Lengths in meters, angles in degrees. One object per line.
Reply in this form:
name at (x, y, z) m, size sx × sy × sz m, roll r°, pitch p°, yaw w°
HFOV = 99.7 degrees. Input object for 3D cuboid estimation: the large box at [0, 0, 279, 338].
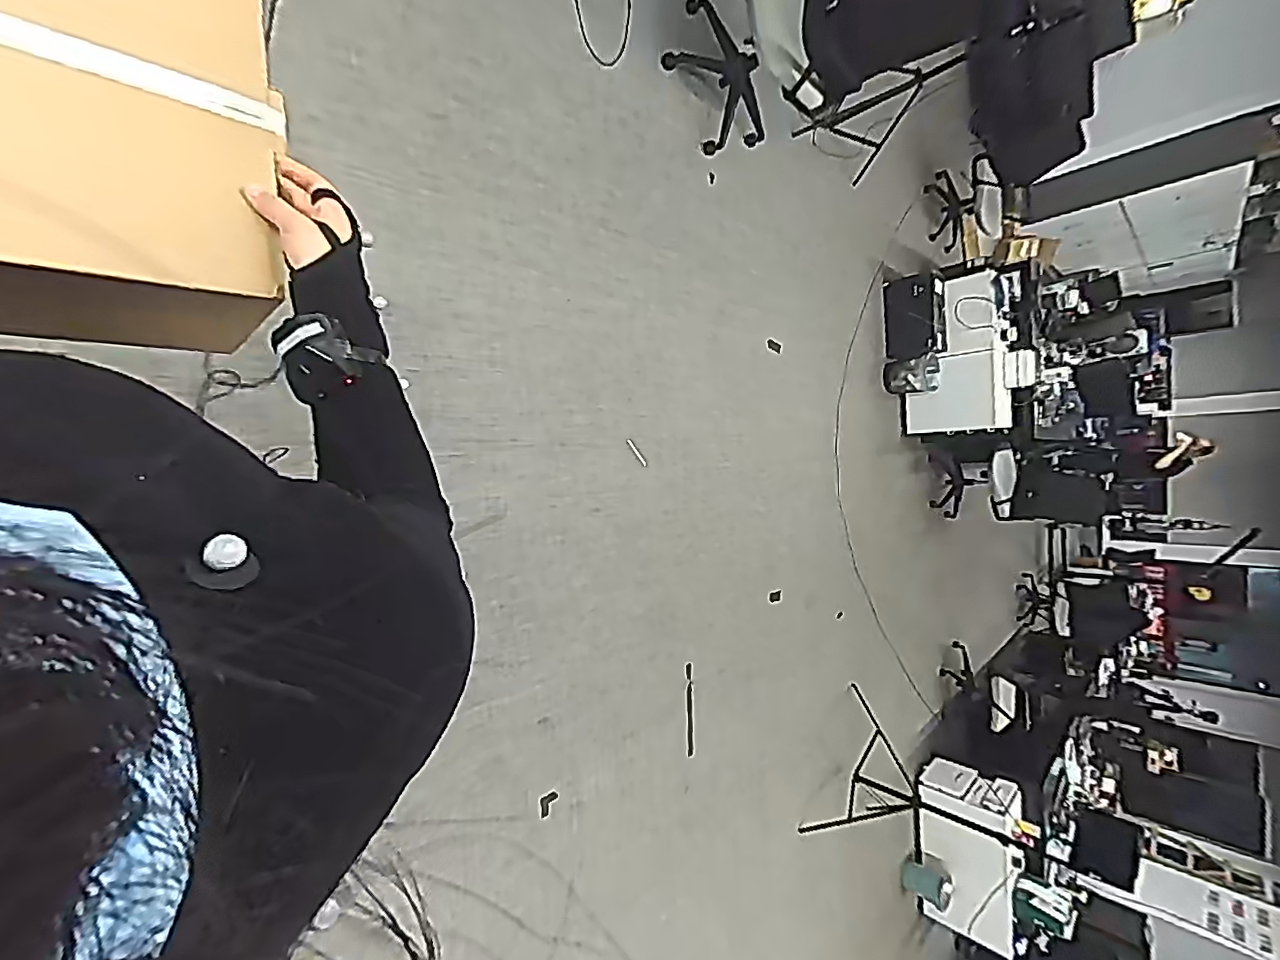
large box at (-0.581, -0.314, 0.458) m, size 0.408 × 0.320 × 0.320 m, roll -5°, pitch 94°, yaw -43°
